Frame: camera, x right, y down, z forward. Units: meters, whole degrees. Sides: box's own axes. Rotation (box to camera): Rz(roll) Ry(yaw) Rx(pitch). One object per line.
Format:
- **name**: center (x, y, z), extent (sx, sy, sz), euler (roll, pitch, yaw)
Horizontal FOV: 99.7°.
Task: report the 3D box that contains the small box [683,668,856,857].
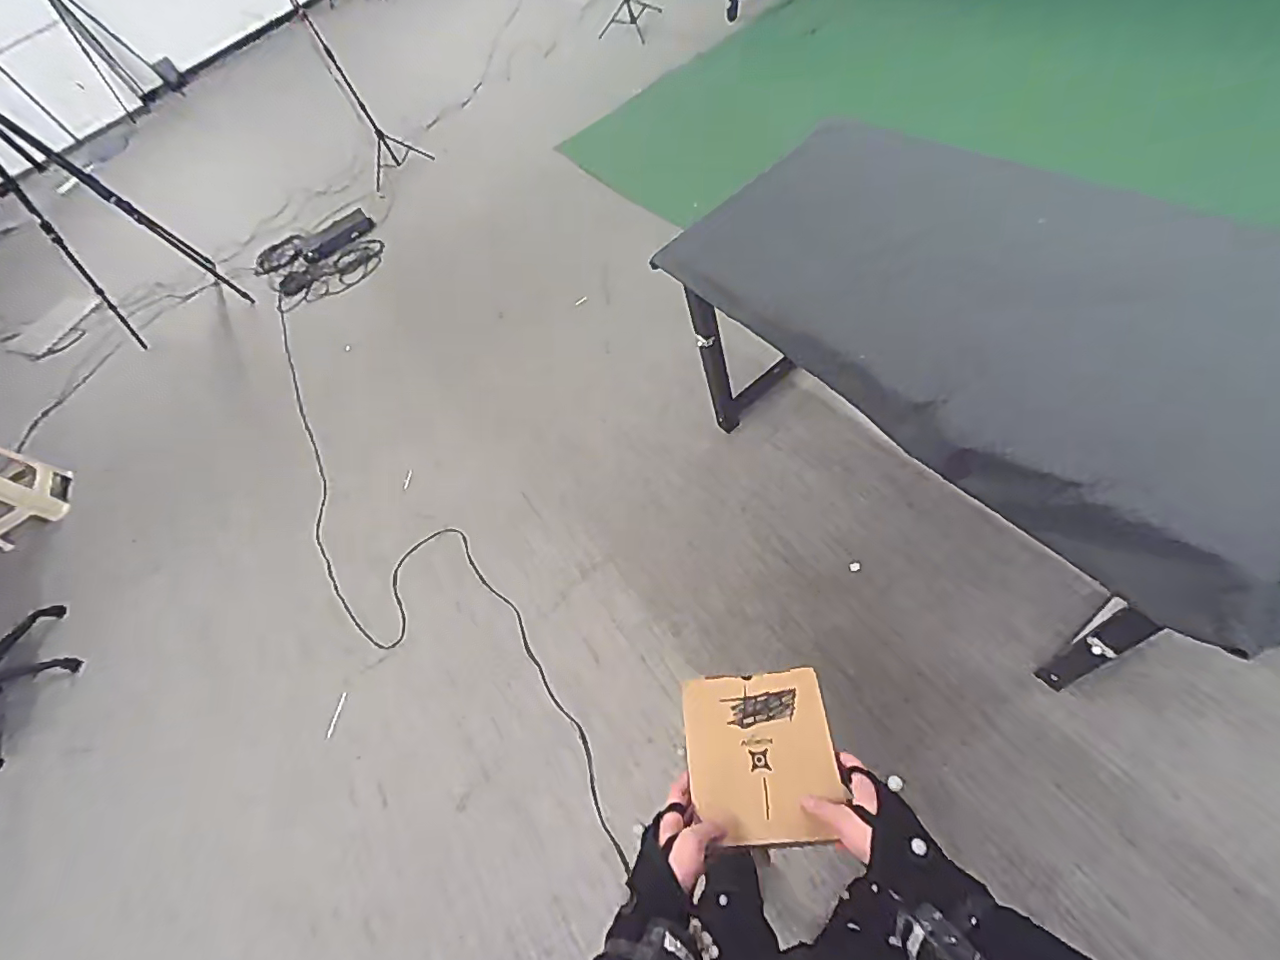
- **small box**: center (0.143, 0.347, 0.658), extent (0.168, 0.176, 0.179), euler (-6, 53, 5)
